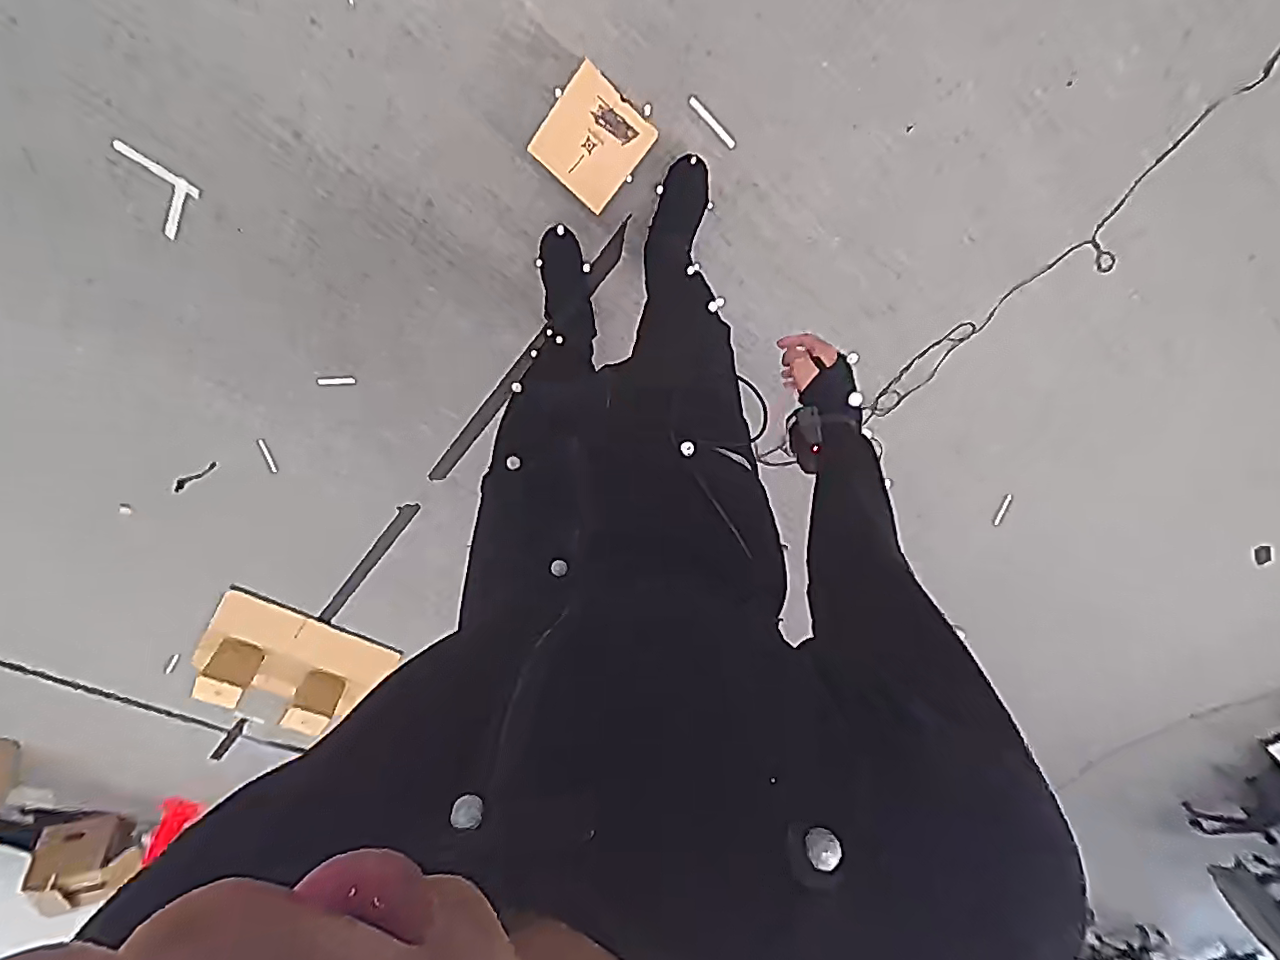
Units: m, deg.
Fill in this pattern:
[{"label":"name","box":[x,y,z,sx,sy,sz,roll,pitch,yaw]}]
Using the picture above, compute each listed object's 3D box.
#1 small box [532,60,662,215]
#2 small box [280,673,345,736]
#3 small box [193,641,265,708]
[{"label":"small box","box":[-0.080,-0.642,1.016,0.168,0.176,0.179,36,119,-23]},{"label":"small box","box":[-1.417,0.973,2.350,0.168,0.176,0.179,31,119,-23]},{"label":"small box","box":[-1.683,0.798,2.221,0.168,0.176,0.179,29,120,-21]}]
